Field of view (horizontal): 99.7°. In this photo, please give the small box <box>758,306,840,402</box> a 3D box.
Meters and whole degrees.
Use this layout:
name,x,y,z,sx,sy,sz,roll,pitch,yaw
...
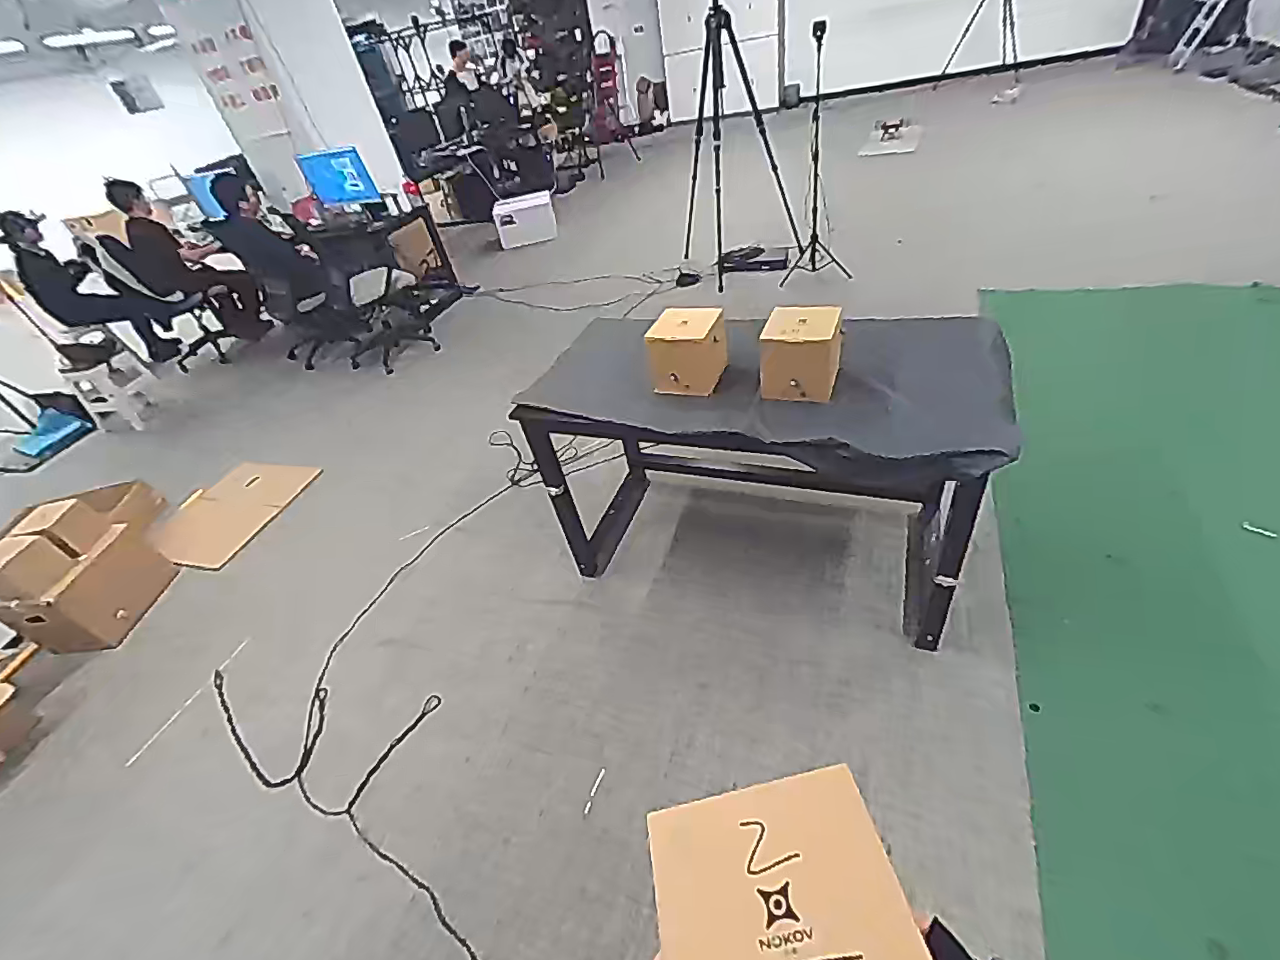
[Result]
name,x,y,z,sx,sy,sz,roll,pitch,yaw
small box,0.396,-0.317,1.350,0.168,0.176,0.179,8,44,24

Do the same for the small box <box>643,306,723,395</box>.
name,x,y,z,sx,sy,sz,roll,pitch,yaw
small box,0.124,-0.353,1.465,0.168,0.176,0.179,9,45,23
